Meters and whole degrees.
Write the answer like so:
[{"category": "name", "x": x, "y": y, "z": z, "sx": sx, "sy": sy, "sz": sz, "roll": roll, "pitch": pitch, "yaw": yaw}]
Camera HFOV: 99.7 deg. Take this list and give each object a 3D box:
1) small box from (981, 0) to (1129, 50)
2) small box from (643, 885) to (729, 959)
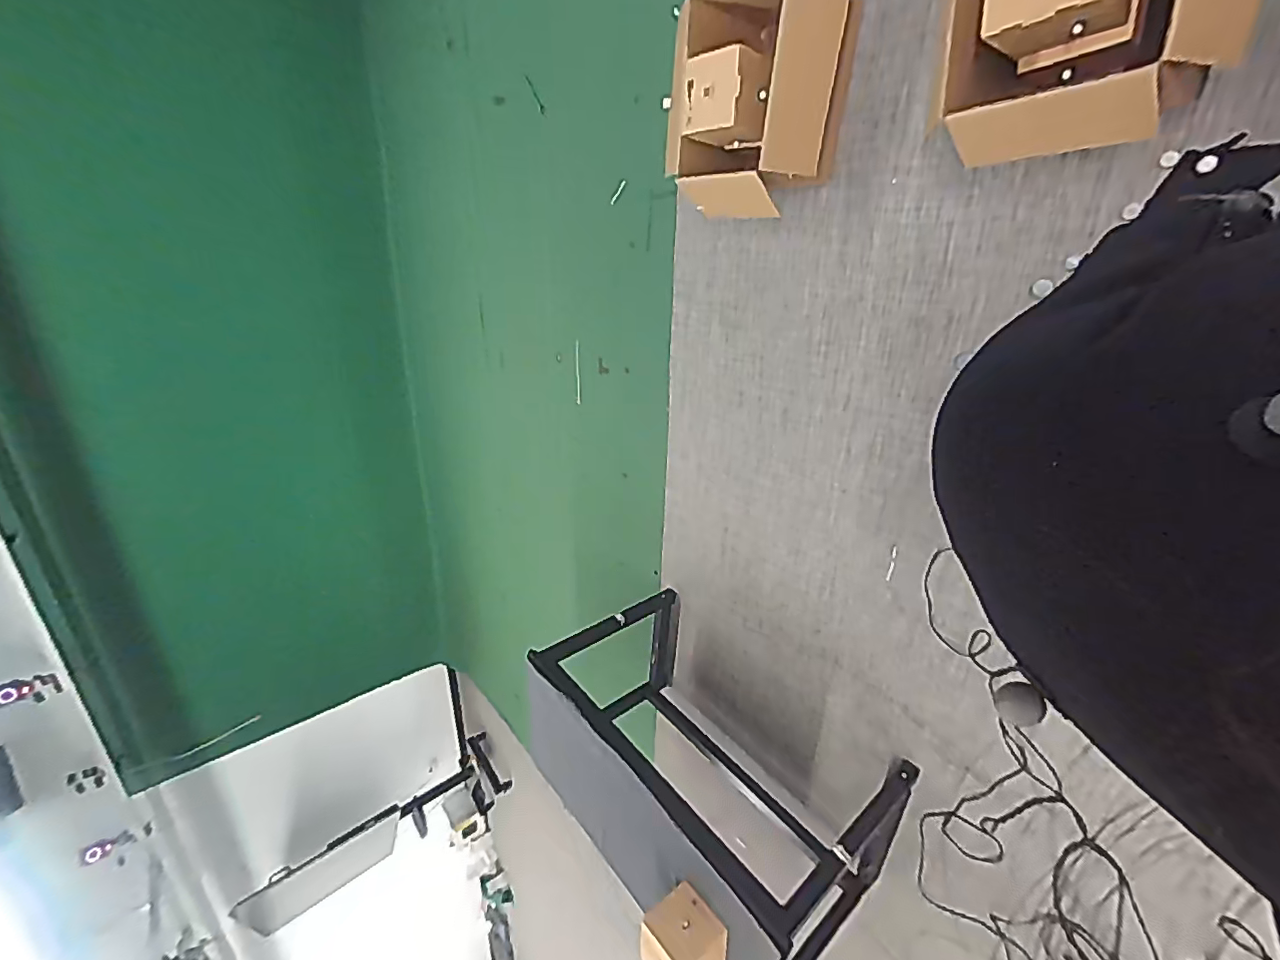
[{"category": "small box", "x": 0.680, "y": -0.828, "z": 0.869, "sx": 0.168, "sy": 0.176, "sz": 0.179, "roll": 17, "pitch": 118, "yaw": 46}, {"category": "small box", "x": 0.126, "y": 1.260, "z": 1.461, "sx": 0.168, "sy": 0.176, "sz": 0.179, "roll": 23, "pitch": 121, "yaw": 47}]
